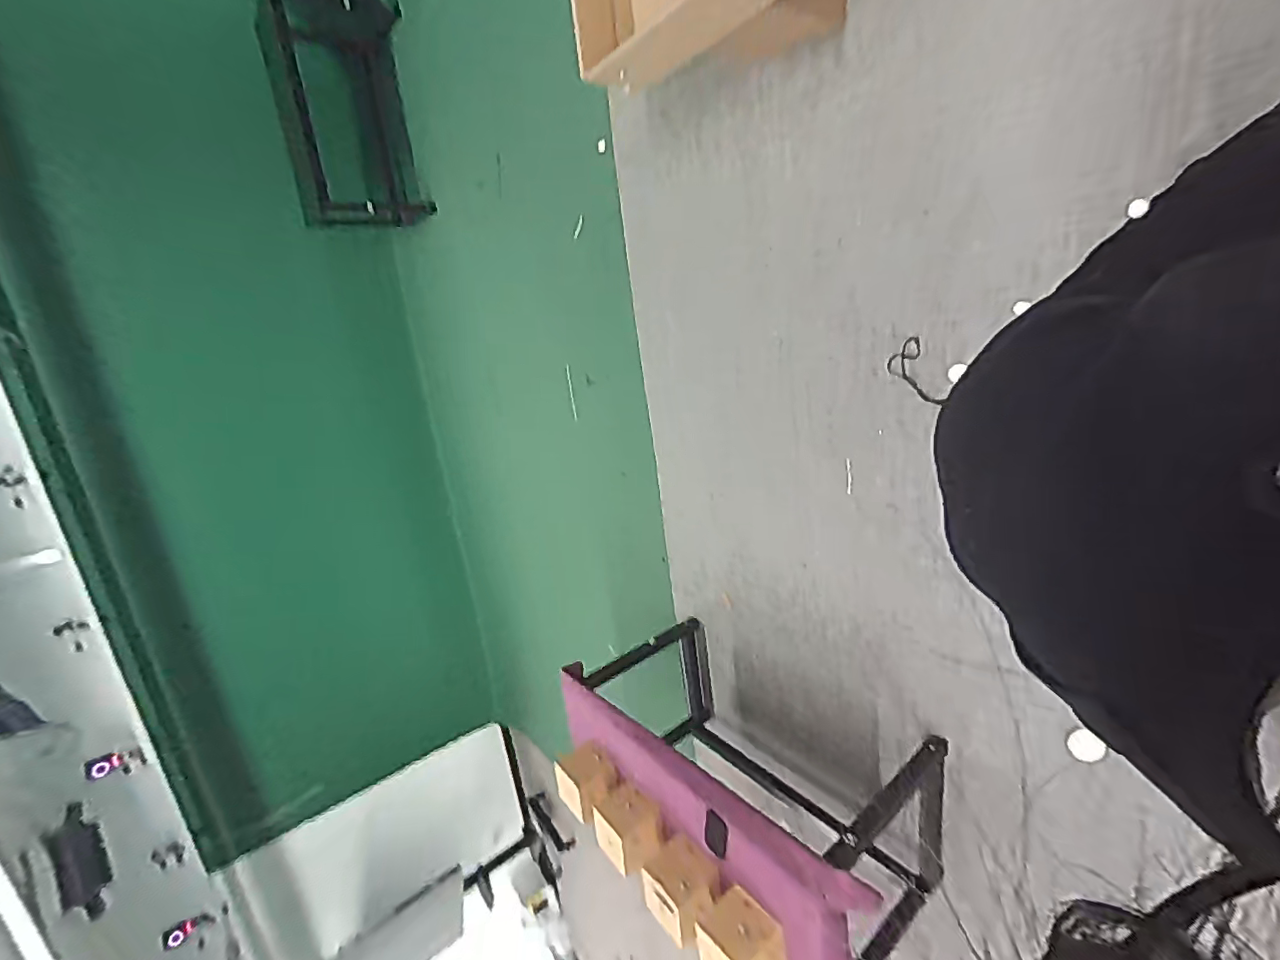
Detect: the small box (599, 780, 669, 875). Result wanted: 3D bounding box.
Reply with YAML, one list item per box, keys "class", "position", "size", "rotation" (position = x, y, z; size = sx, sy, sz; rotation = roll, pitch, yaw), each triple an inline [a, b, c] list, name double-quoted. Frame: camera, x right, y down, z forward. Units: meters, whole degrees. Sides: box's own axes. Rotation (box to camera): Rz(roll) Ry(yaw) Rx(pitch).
- class: "small box"
  position: [-0.018, 1.167, 1.833]
  size: [0.168, 0.176, 0.179]
  rotation: [18, 119, 50]

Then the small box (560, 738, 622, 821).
- class: "small box"
  position: [-0.179, 1.119, 2.033]
  size: [0.168, 0.176, 0.179]
  rotation: [19, 119, 48]

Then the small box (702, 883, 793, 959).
- class: "small box"
  position: [0.291, 1.243, 1.446]
  size: [0.168, 0.176, 0.179]
  rotation: [9, 112, 52]
